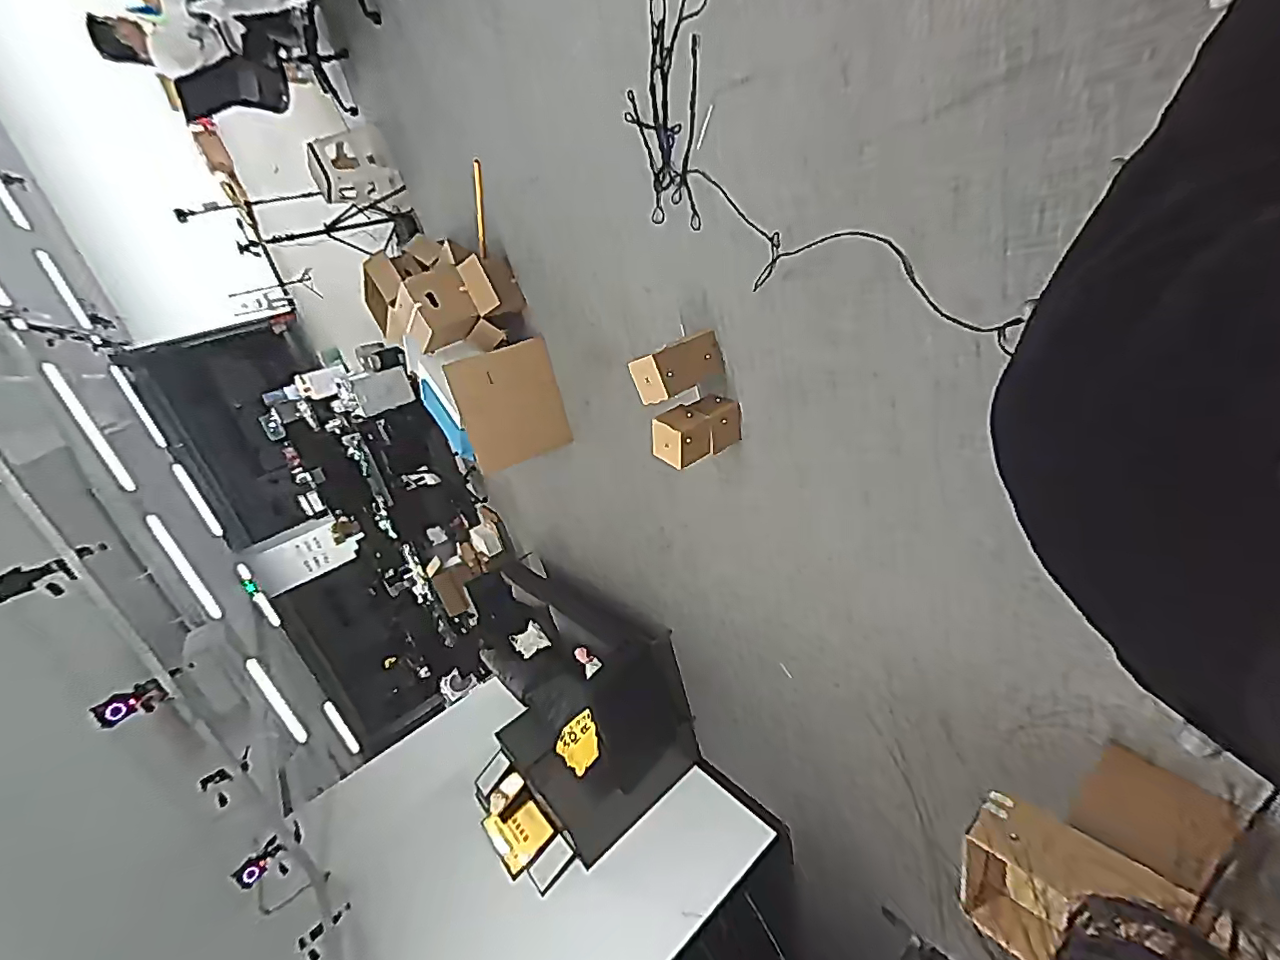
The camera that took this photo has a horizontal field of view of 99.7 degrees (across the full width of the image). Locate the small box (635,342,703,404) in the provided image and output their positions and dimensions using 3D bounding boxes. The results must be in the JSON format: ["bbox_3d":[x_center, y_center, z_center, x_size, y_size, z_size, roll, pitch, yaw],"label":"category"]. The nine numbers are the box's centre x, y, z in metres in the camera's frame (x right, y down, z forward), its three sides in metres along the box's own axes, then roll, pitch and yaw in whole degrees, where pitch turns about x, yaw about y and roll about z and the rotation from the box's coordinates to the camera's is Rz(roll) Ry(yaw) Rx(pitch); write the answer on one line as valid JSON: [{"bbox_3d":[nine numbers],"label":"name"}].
[{"bbox_3d":[0.116,-0.409,2.074,0.168,0.176,0.179,-2,114,57],"label":"small box"}]

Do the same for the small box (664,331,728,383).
[{"bbox_3d":[0.230,-0.487,2.162,0.179,0.176,0.168,6,120,56],"label":"small box"}]

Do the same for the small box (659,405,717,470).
[{"bbox_3d":[0.192,-0.175,2.164,0.168,0.176,0.179,34,140,40],"label":"small box"}]
